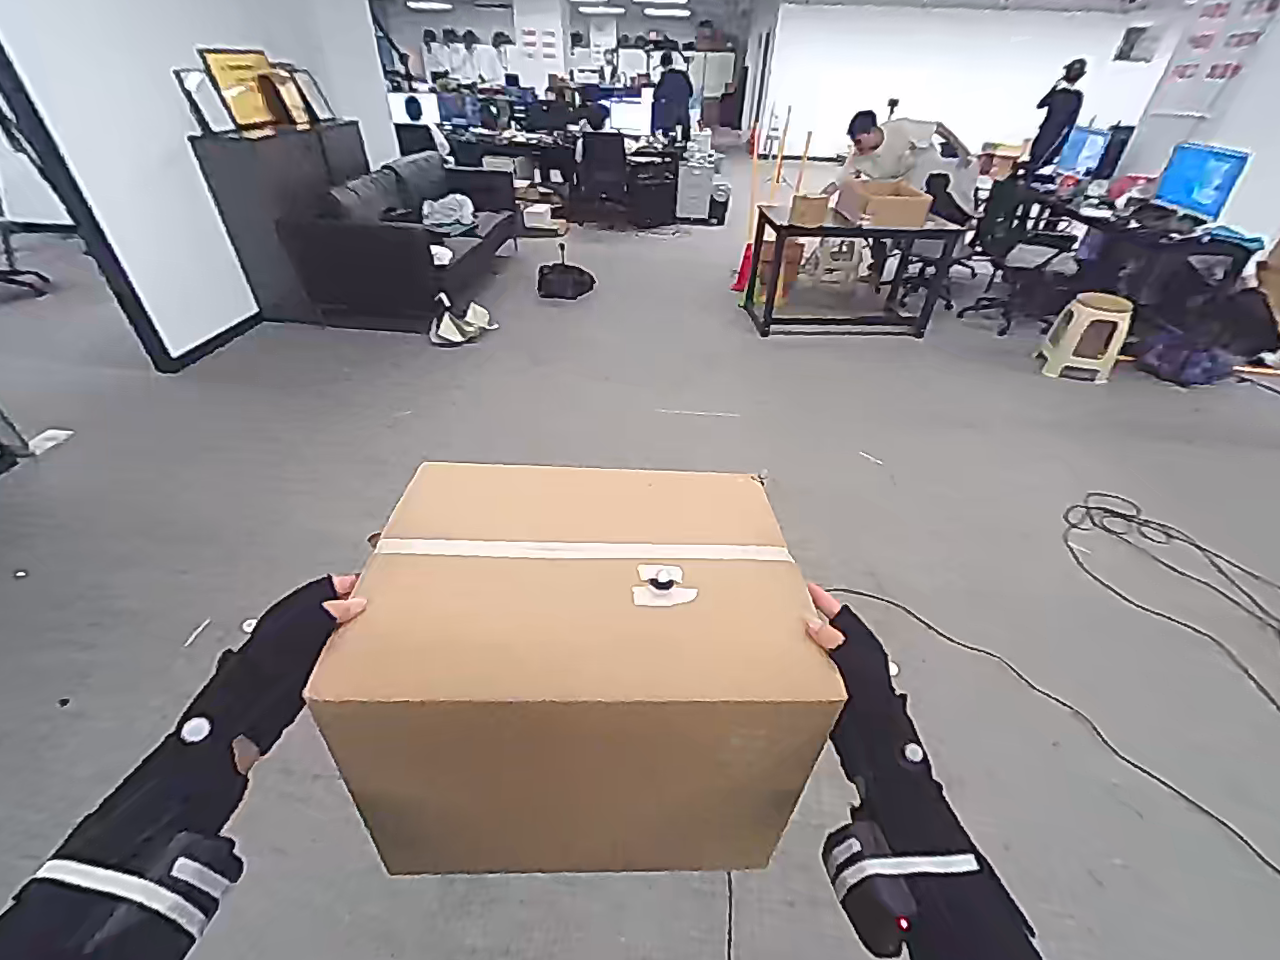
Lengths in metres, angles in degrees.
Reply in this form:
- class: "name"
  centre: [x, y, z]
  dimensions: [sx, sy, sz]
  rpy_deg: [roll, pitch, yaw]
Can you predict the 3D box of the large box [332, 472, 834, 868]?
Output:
- class: "large box"
  centre: [-0.059, 0.204, 0.625]
  dimensions: [0.408, 0.320, 0.320]
  rpy_deg: [2, 34, -5]
